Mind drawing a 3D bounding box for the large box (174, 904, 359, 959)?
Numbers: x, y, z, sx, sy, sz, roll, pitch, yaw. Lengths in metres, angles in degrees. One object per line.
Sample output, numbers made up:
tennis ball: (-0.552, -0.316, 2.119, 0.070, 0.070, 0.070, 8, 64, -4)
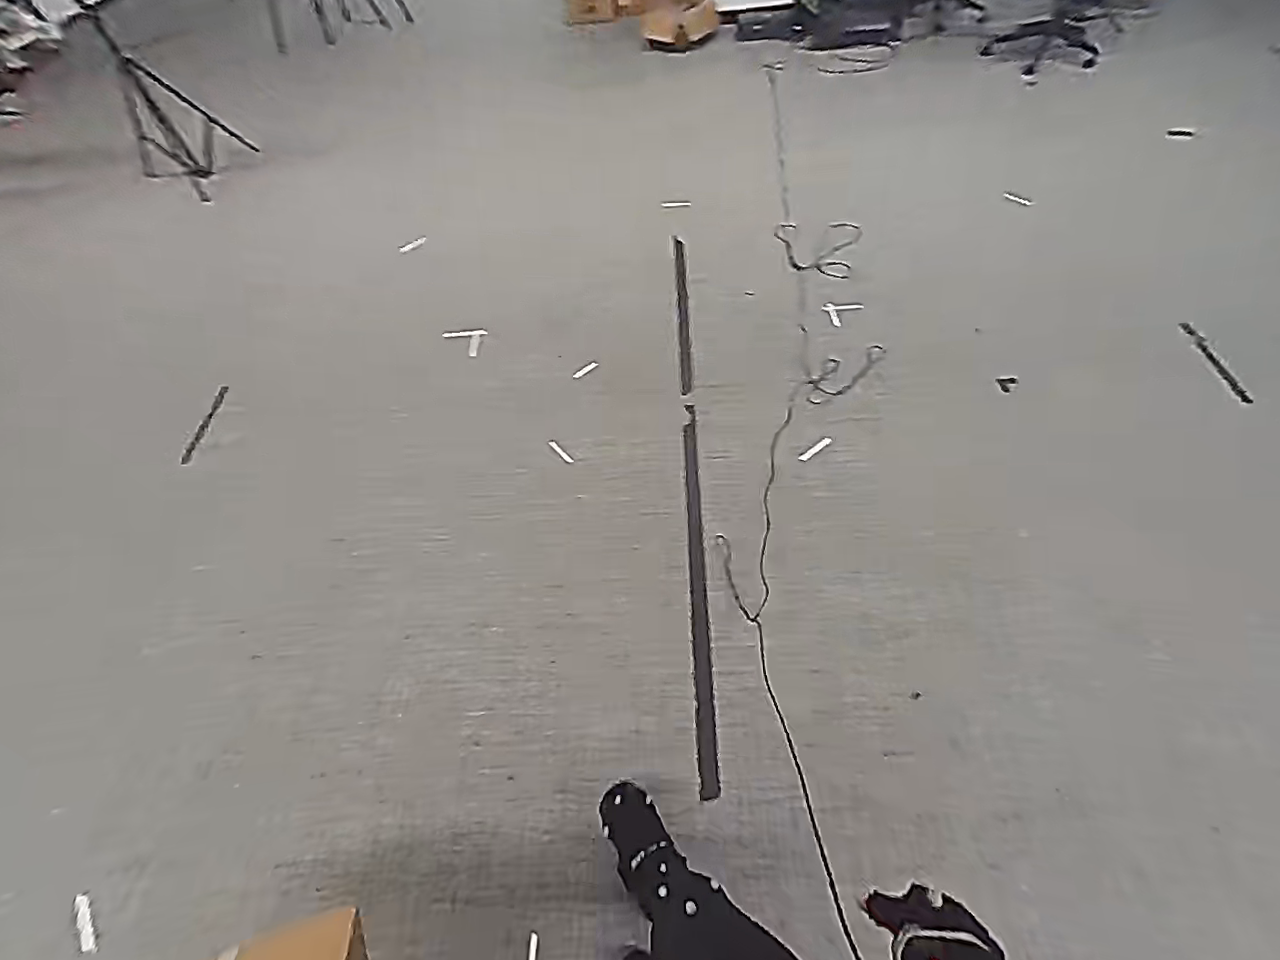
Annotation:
large box: (-0.488, 0.803, 0.587, 0.320, 0.408, 0.320, -8, 93, -19)
